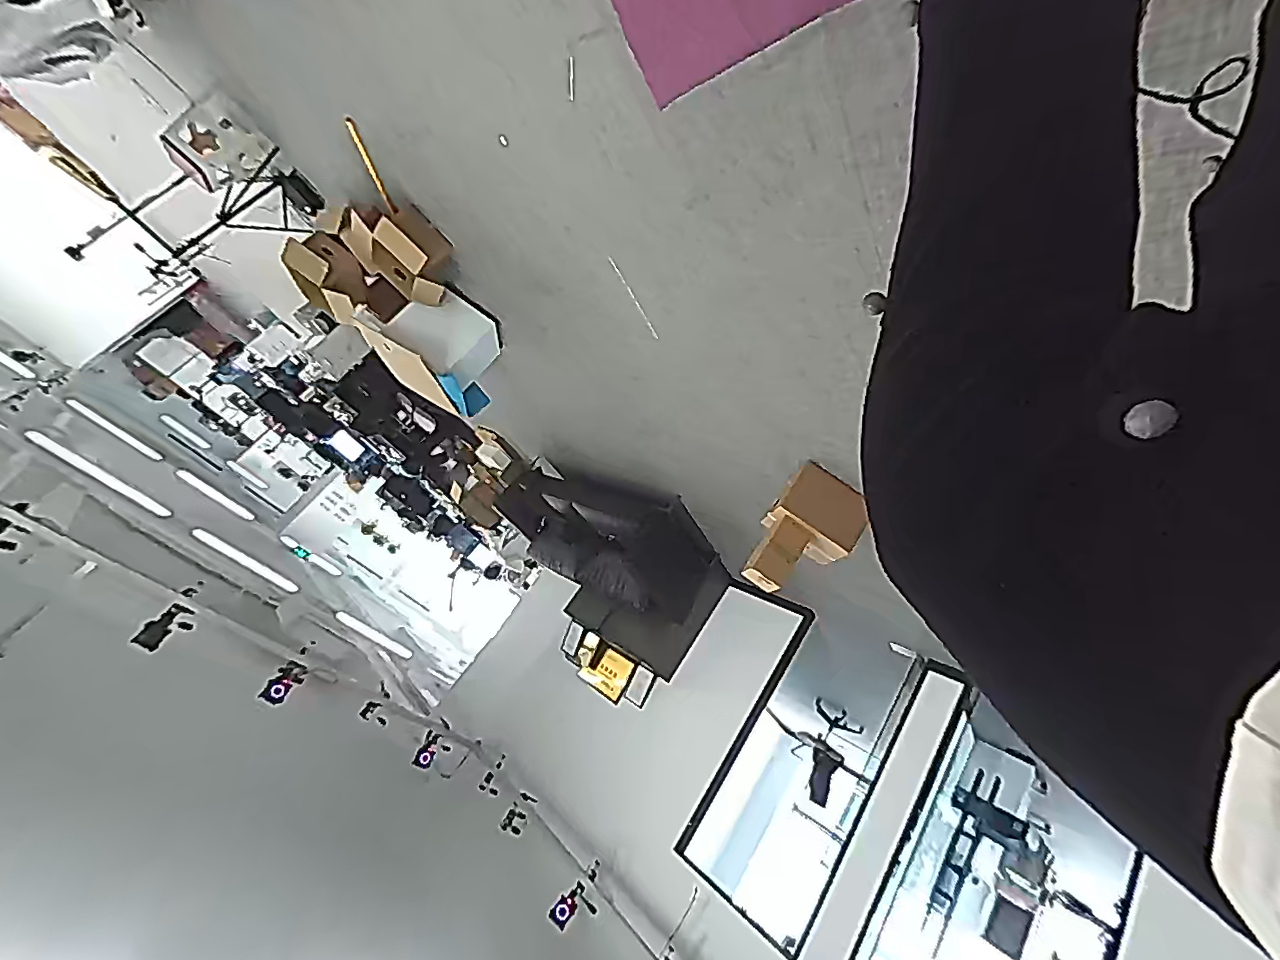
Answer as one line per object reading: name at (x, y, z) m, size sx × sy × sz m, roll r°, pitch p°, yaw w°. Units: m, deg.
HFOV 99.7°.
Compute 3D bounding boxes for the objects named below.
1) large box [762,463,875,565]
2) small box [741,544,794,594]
large box at (0.911, 0.178, 2.788) m, size 0.408 × 0.320 × 0.320 m, roll 34°, pitch 161°, yaw 6°
small box at (0.620, 0.429, 2.623) m, size 0.168 × 0.176 × 0.179 m, roll 36°, pitch 161°, yaw 5°
